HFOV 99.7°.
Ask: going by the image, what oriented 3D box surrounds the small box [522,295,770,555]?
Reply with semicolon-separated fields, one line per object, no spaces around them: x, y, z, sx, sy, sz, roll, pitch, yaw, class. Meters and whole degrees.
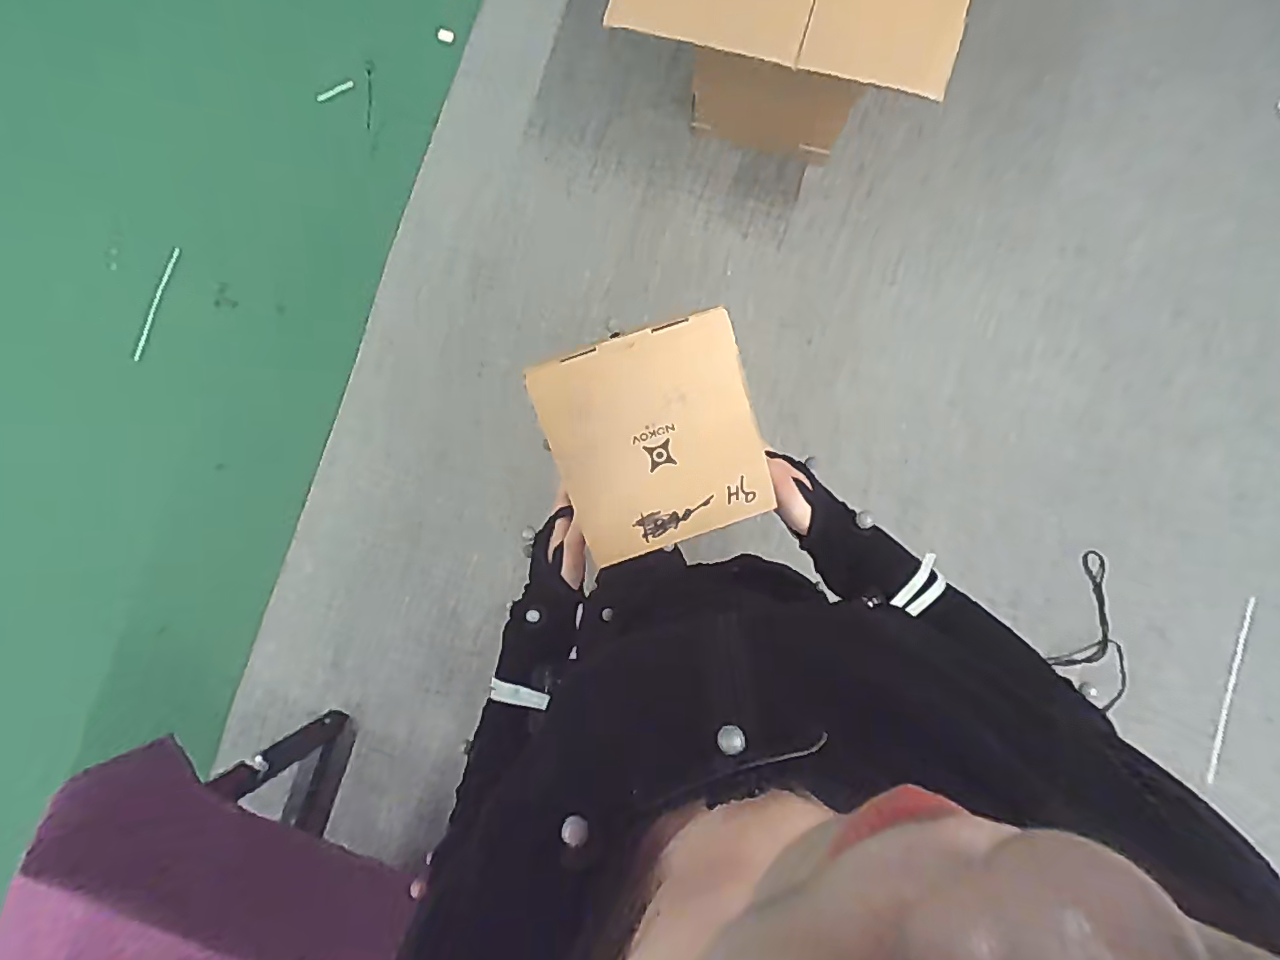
0.002;-0.058;0.511;0.168;0.176;0.179;-18;106;1;small box
